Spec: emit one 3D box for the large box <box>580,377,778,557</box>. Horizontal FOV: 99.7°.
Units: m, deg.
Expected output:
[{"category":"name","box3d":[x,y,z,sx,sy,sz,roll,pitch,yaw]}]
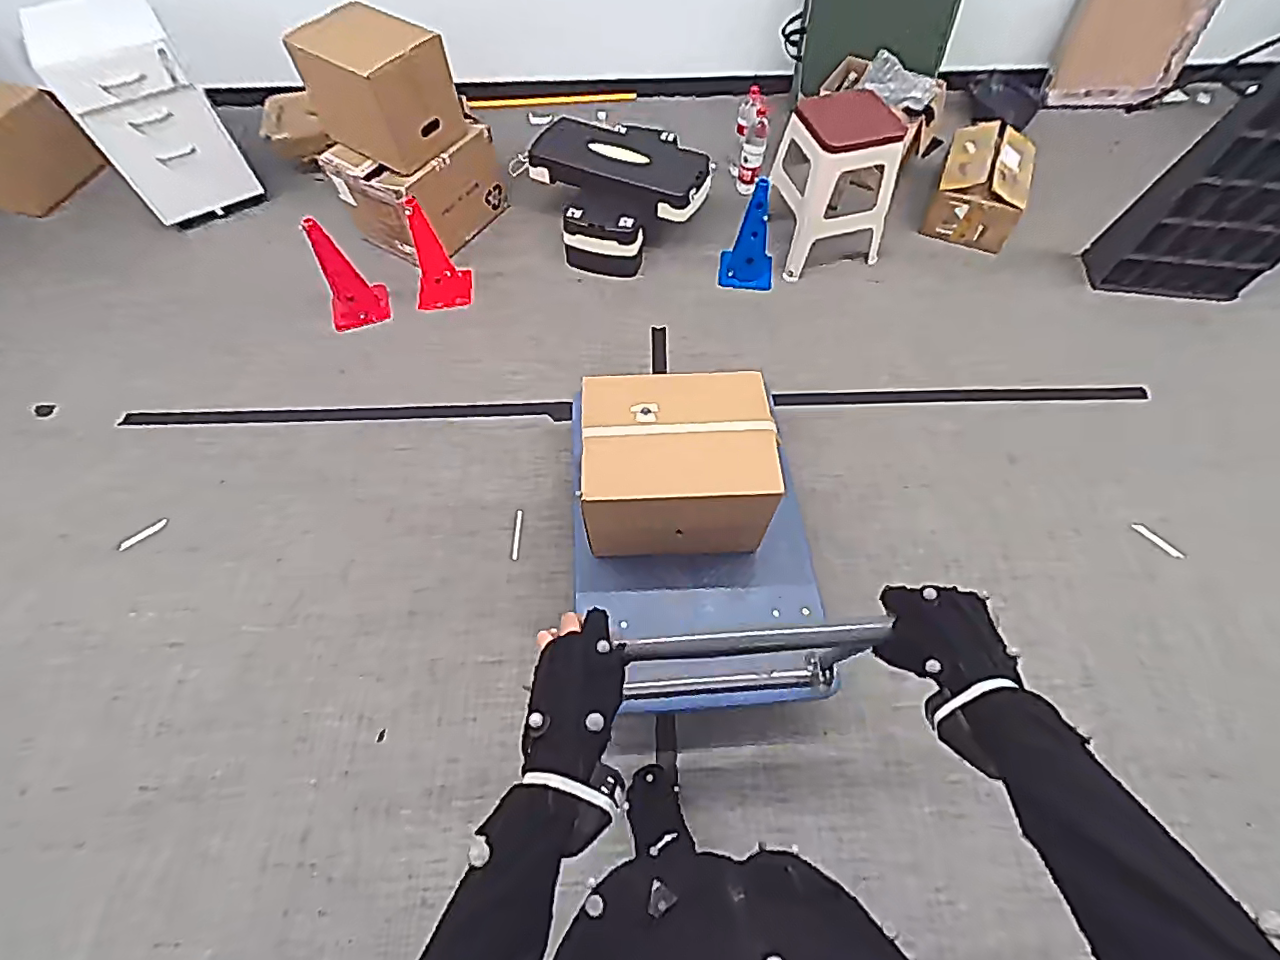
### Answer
[{"category":"large box","box3d":[0.078,-0.018,1.280,0.408,0.320,0.320,-3,61,0]}]
